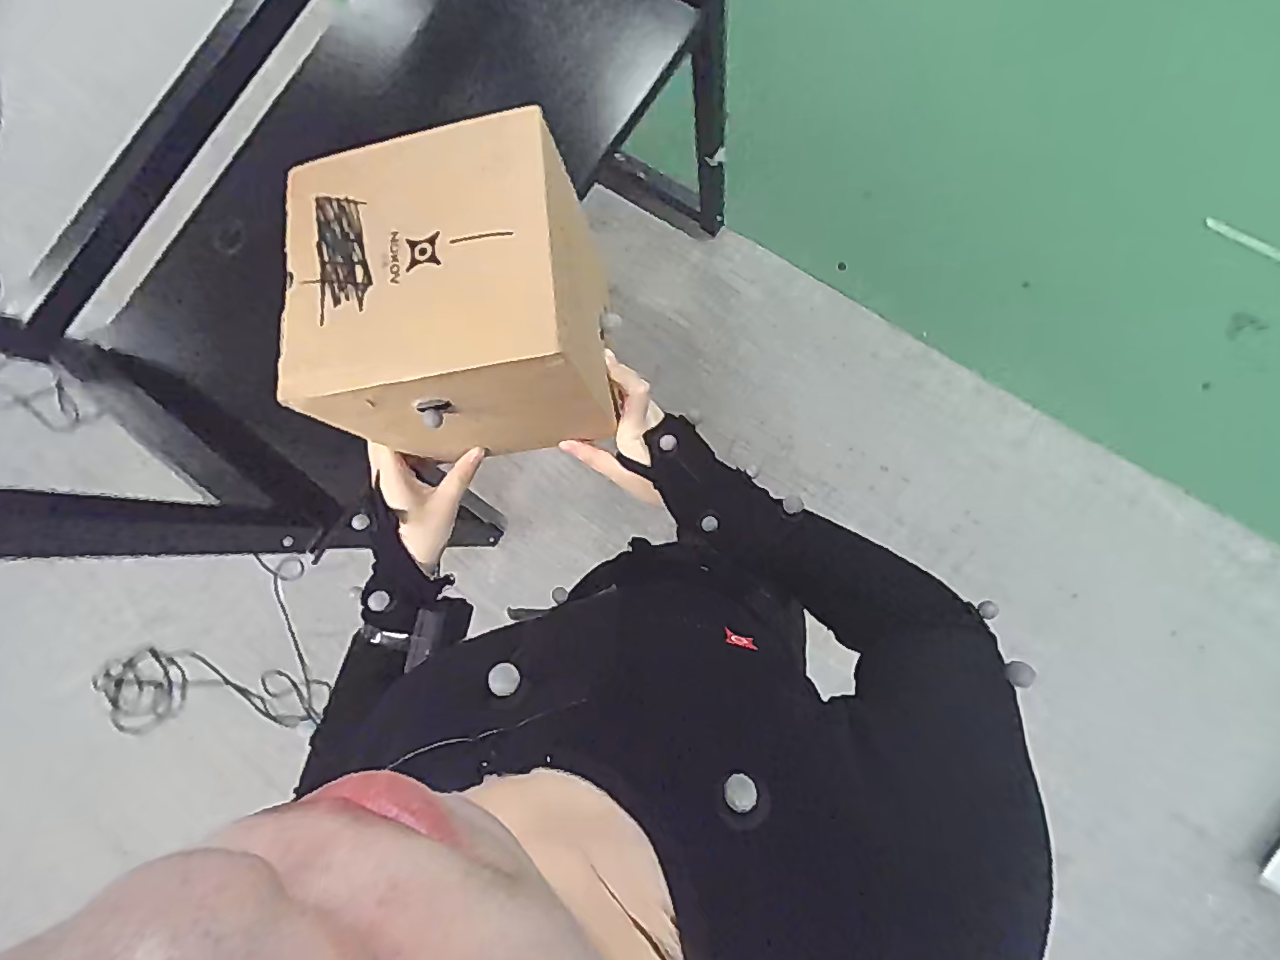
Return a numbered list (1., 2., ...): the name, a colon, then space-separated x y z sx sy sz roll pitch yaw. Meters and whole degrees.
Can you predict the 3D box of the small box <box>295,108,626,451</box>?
1. small box: -0.117 -0.126 0.408 0.179 0.176 0.168 -7 78 8
